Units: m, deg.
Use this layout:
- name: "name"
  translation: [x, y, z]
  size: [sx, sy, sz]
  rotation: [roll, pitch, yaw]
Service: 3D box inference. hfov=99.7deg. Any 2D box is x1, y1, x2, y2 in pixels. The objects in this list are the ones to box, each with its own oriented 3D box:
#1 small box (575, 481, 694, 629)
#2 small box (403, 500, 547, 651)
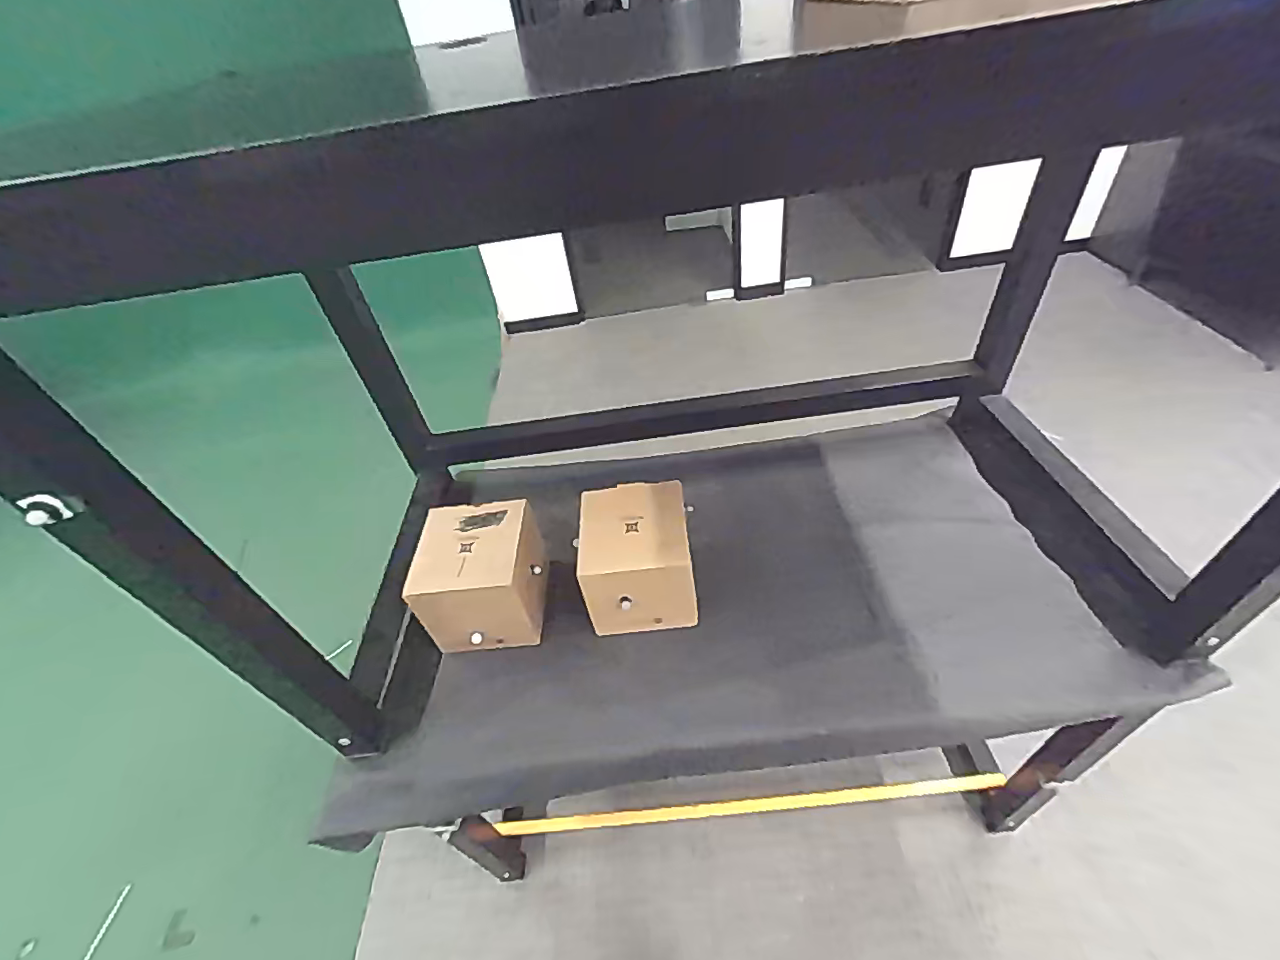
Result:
- name: "small box"
  translation: [-0.005, 0.129, 0.881]
  size: [0.168, 0.176, 0.179]
  rotation: [-7, 43, 3]
- name: "small box"
  translation: [-0.256, 0.158, 0.891]
  size: [0.168, 0.176, 0.179]
  rotation: [-7, 43, 3]
